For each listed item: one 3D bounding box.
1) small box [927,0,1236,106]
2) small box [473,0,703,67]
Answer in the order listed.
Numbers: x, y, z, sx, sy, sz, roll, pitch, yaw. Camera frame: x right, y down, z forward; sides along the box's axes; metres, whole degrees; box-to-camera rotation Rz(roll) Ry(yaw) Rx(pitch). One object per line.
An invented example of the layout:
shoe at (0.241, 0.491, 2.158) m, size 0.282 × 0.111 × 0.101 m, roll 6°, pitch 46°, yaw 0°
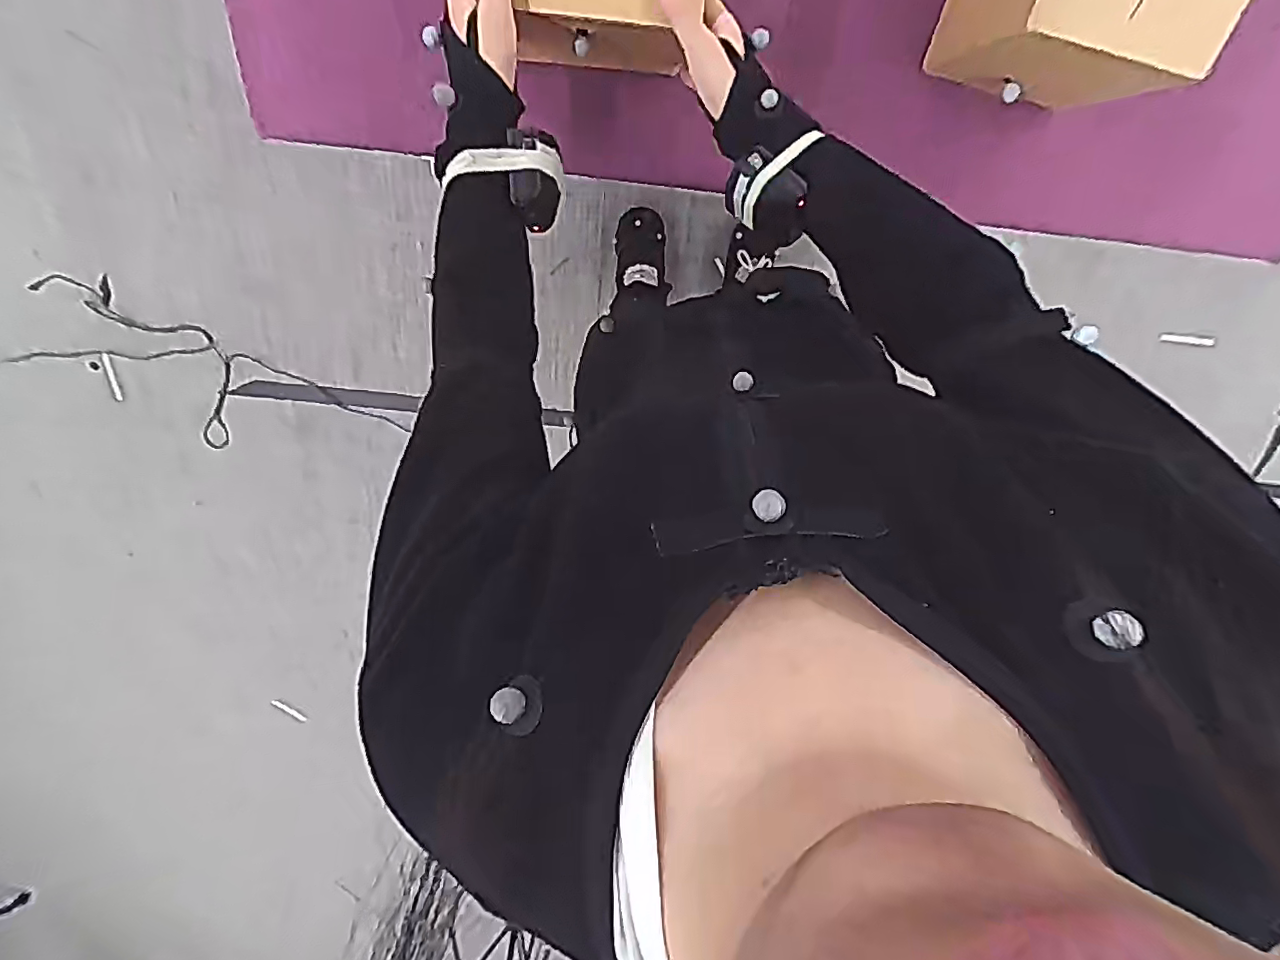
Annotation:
small box at (0.389, -0.455, 0.468) m, size 0.168 × 0.176 × 0.179 m, roll 10°, pitch 117°, yaw -7°
small box at (-0.037, -0.464, 0.448) m, size 0.179 × 0.176 × 0.168 m, roll 3°, pitch 118°, yaw -3°
